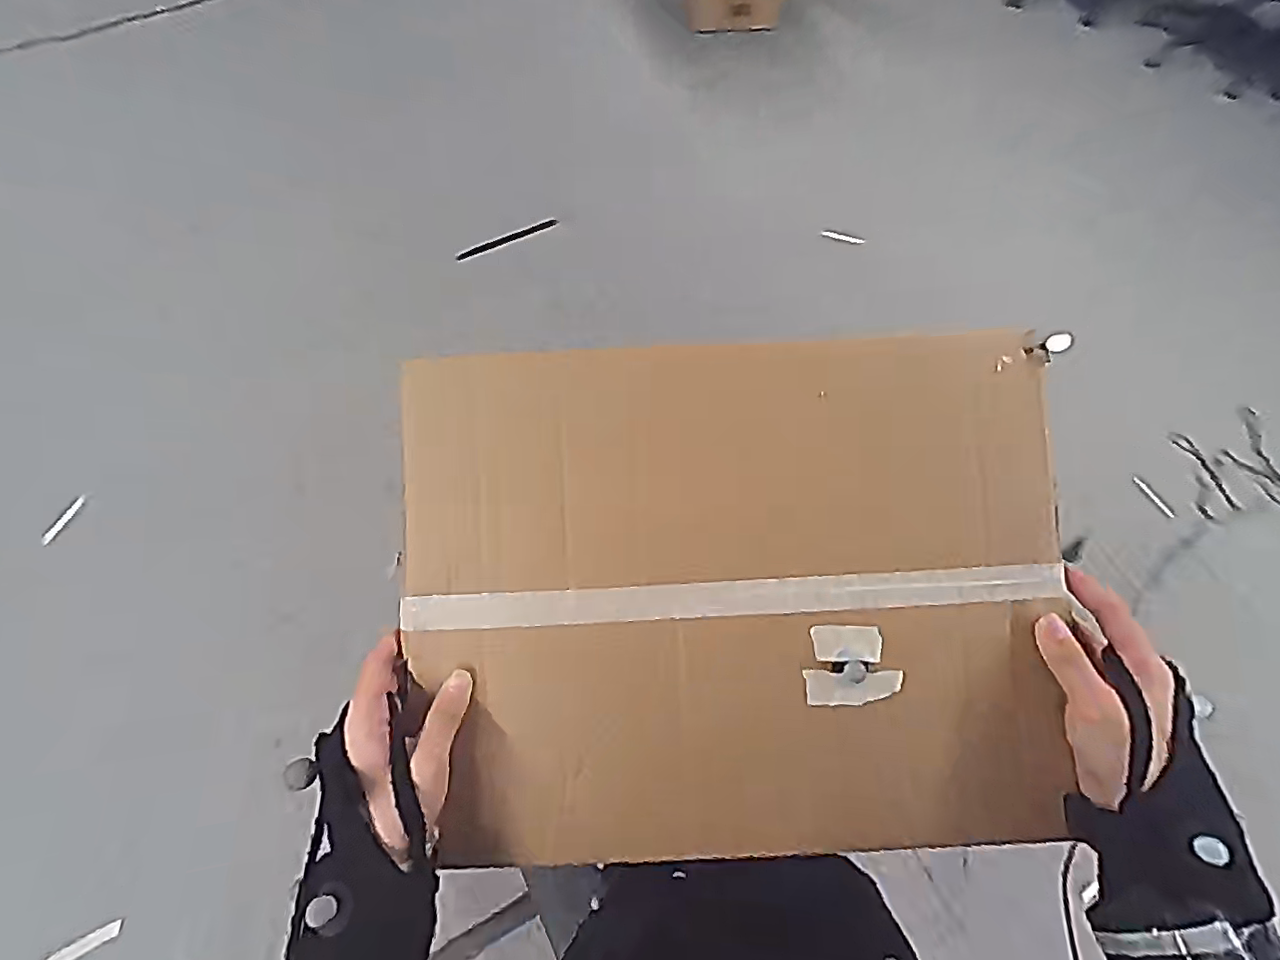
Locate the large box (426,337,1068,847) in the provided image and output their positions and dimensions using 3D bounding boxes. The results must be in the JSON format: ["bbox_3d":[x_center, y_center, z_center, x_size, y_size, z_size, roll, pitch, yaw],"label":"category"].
[{"bbox_3d":[0.063,0.076,0.494,0.408,0.320,0.320,-2,88,0],"label":"large box"}]
